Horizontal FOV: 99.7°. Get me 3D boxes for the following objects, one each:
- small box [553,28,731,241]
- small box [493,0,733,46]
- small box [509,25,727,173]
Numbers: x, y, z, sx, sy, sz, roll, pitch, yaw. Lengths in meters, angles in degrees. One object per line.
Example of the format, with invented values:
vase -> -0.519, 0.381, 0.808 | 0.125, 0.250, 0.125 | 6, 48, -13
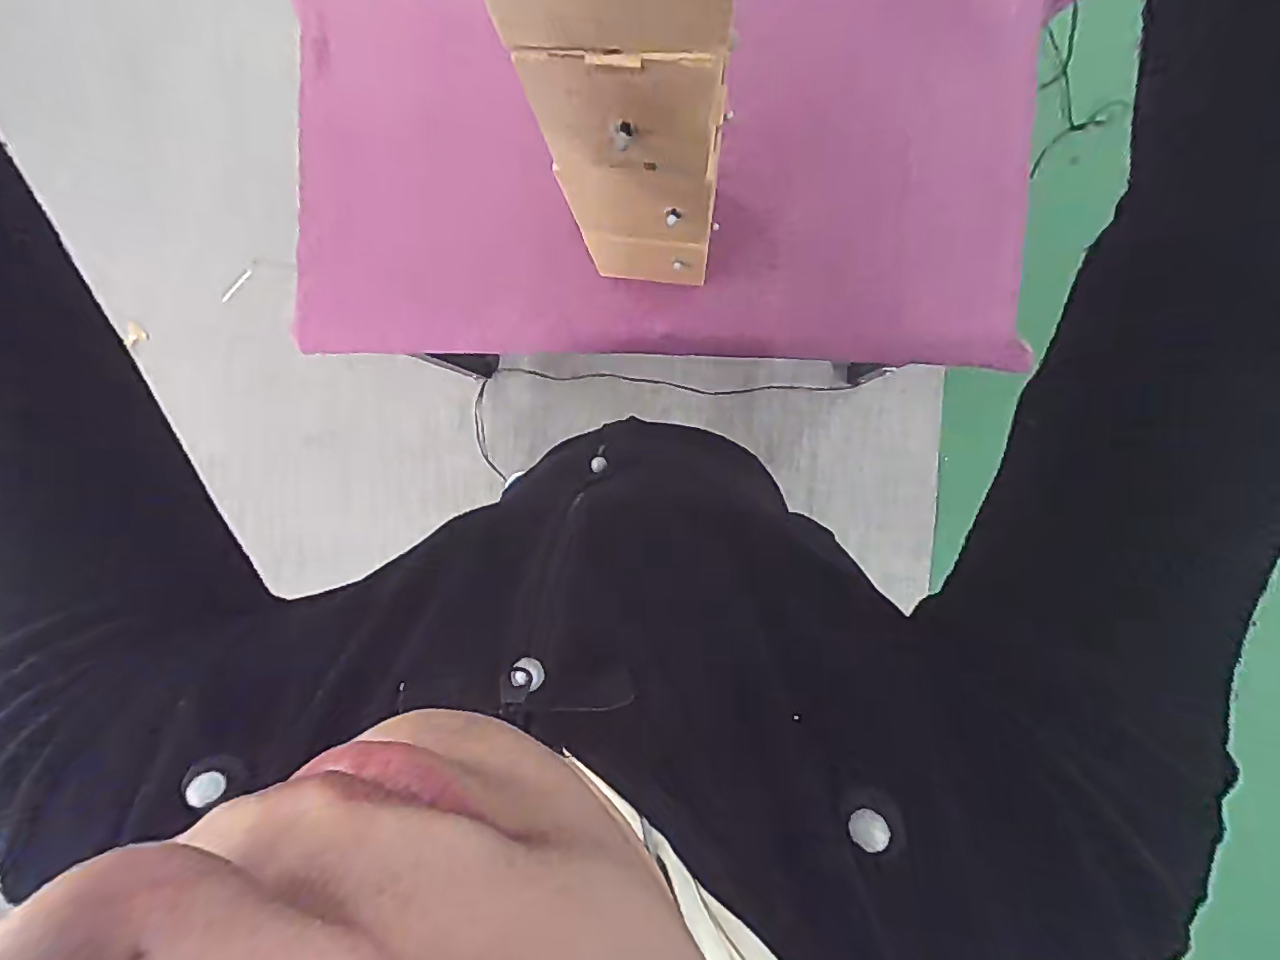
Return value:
small box -> 0.008, -0.408, 0.655 | 0.179, 0.176, 0.168 | 7, 92, 5
small box -> -0.020, -0.409, 0.329 | 0.179, 0.176, 0.168 | 5, 91, 4
small box -> -0.006, -0.410, 0.493 | 0.168, 0.176, 0.179 | 7, 92, 4
